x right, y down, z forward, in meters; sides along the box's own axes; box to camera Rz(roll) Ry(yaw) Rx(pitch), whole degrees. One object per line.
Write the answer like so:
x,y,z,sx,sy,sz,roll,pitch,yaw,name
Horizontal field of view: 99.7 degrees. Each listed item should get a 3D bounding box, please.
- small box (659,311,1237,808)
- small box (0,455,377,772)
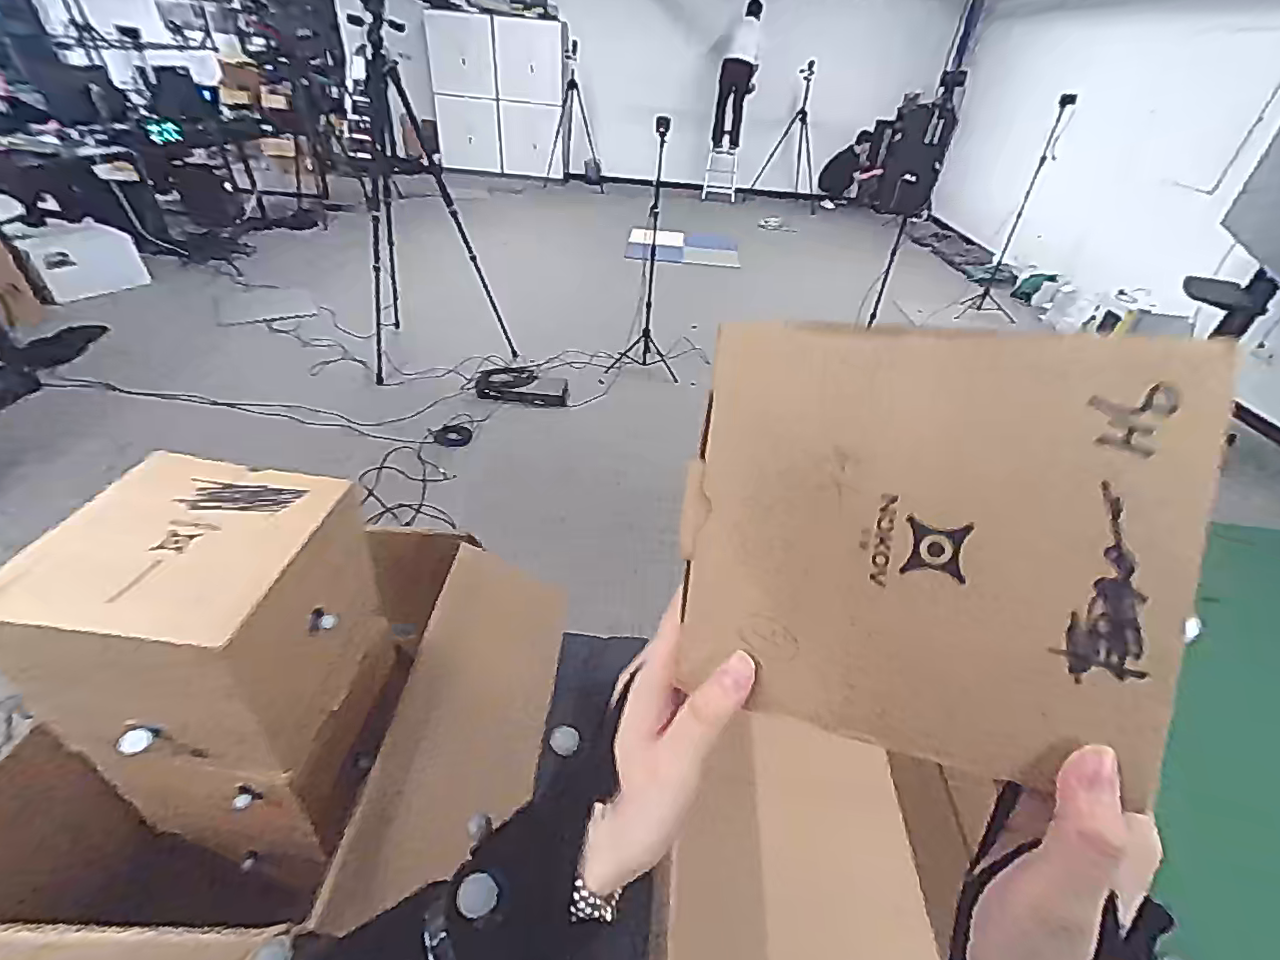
0.126,0.018,0.281,0.179,0.168,0.176,9,6,19,small box
-0.337,0.106,0.448,0.168,0.176,0.179,9,37,-3,small box
